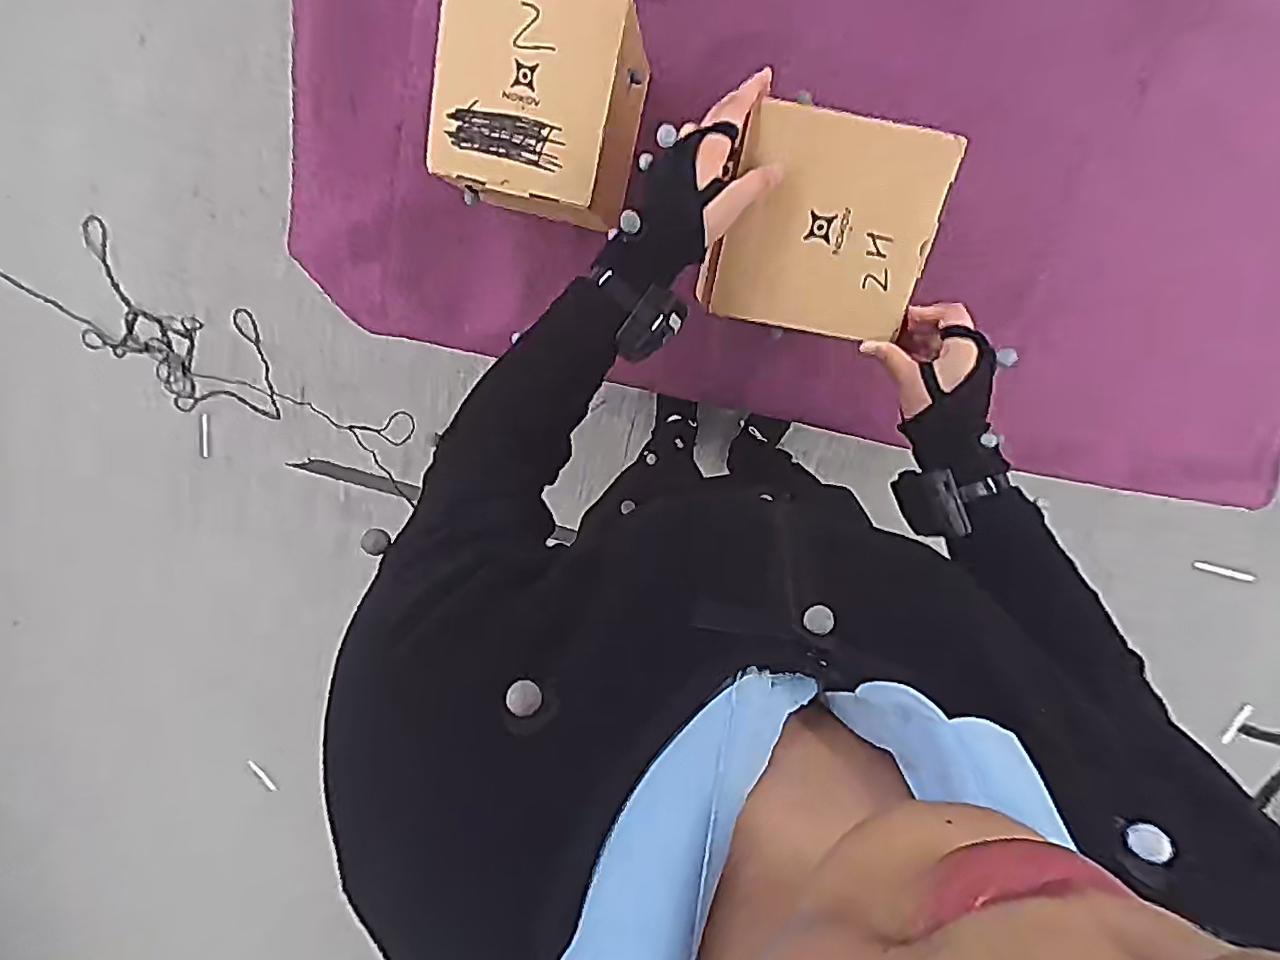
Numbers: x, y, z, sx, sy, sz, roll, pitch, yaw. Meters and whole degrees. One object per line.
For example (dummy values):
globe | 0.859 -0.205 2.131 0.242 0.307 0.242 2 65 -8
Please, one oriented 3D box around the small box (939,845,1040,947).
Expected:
small box | 1.093 1.307 1.710 0.168 0.176 0.179 38 108 -6

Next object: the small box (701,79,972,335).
small box | 0.162 -0.250 0.521 0.179 0.176 0.168 11 115 -3
